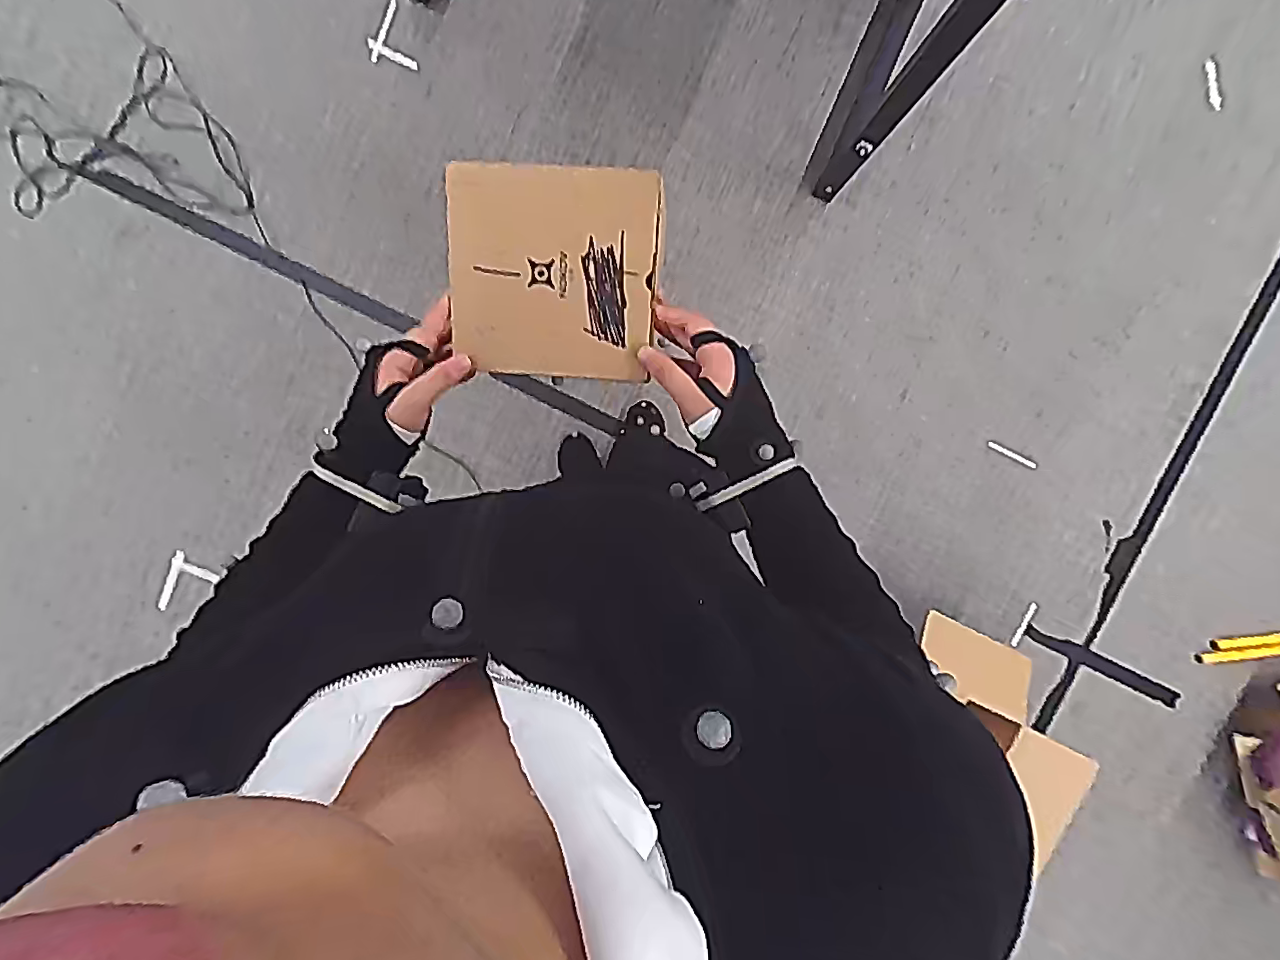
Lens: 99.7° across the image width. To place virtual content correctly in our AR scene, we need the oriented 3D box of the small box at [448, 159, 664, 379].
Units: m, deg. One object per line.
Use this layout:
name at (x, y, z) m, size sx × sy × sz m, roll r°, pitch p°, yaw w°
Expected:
small box at (-0.069, -0.194, 0.530) m, size 0.179 × 0.176 × 0.168 m, roll 5°, pitch 105°, yaw 3°
